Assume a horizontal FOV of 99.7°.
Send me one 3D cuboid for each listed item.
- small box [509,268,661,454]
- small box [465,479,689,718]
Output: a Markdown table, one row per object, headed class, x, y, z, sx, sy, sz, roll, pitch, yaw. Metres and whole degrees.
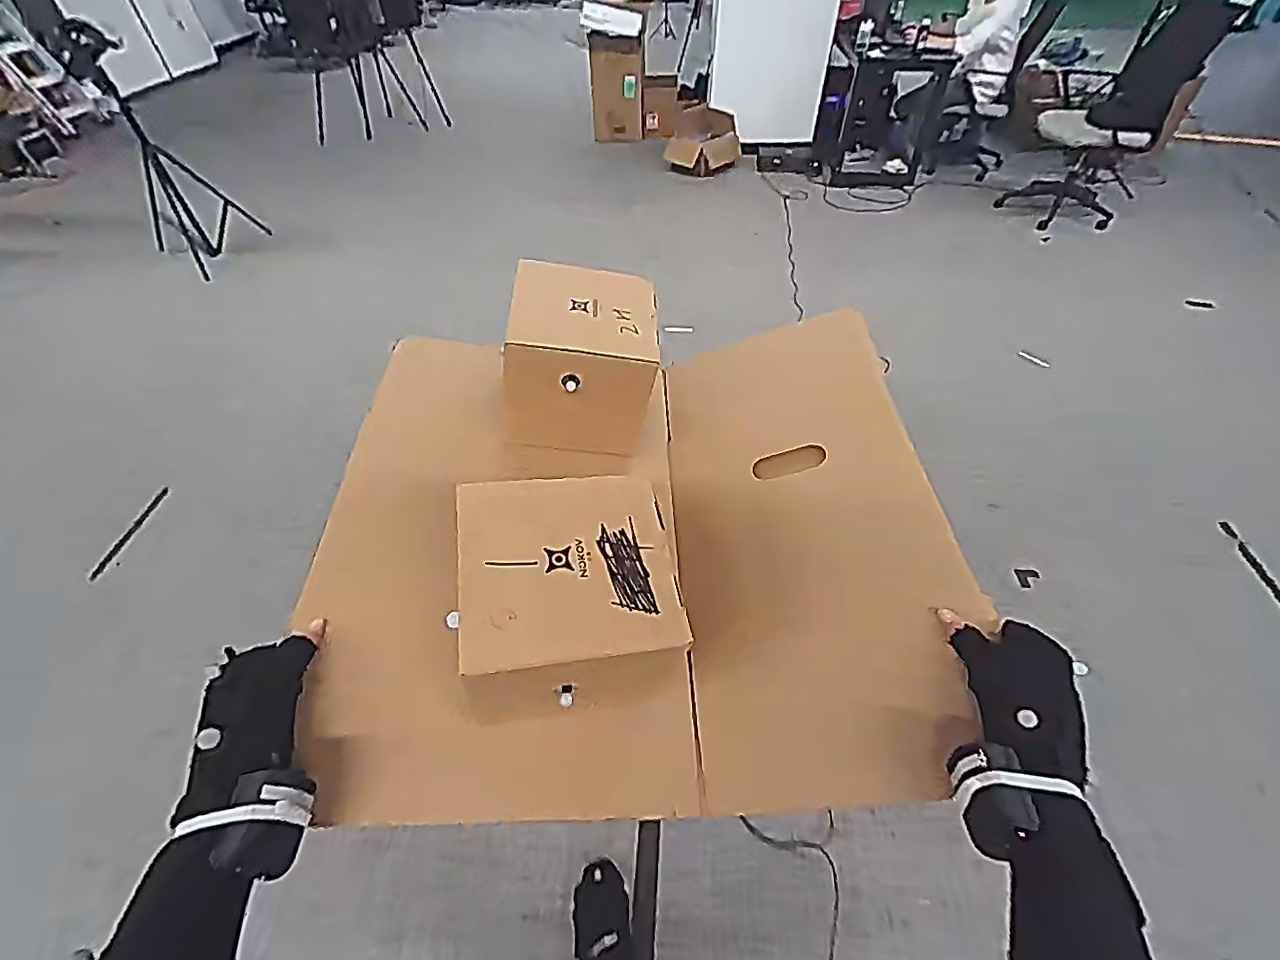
| class | x | y | z | sx | sy | sz | roll | pitch | yaw |
| --- | --- | --- | --- | --- | --- | --- | --- | --- | --- |
| small box | -0.076 | -0.151 | 0.719 | 0.179 | 0.176 | 0.168 | 6 | 52 | -9 |
| small box | -0.072 | 0.114 | 0.519 | 0.179 | 0.176 | 0.168 | -3 | 54 | -15 |
